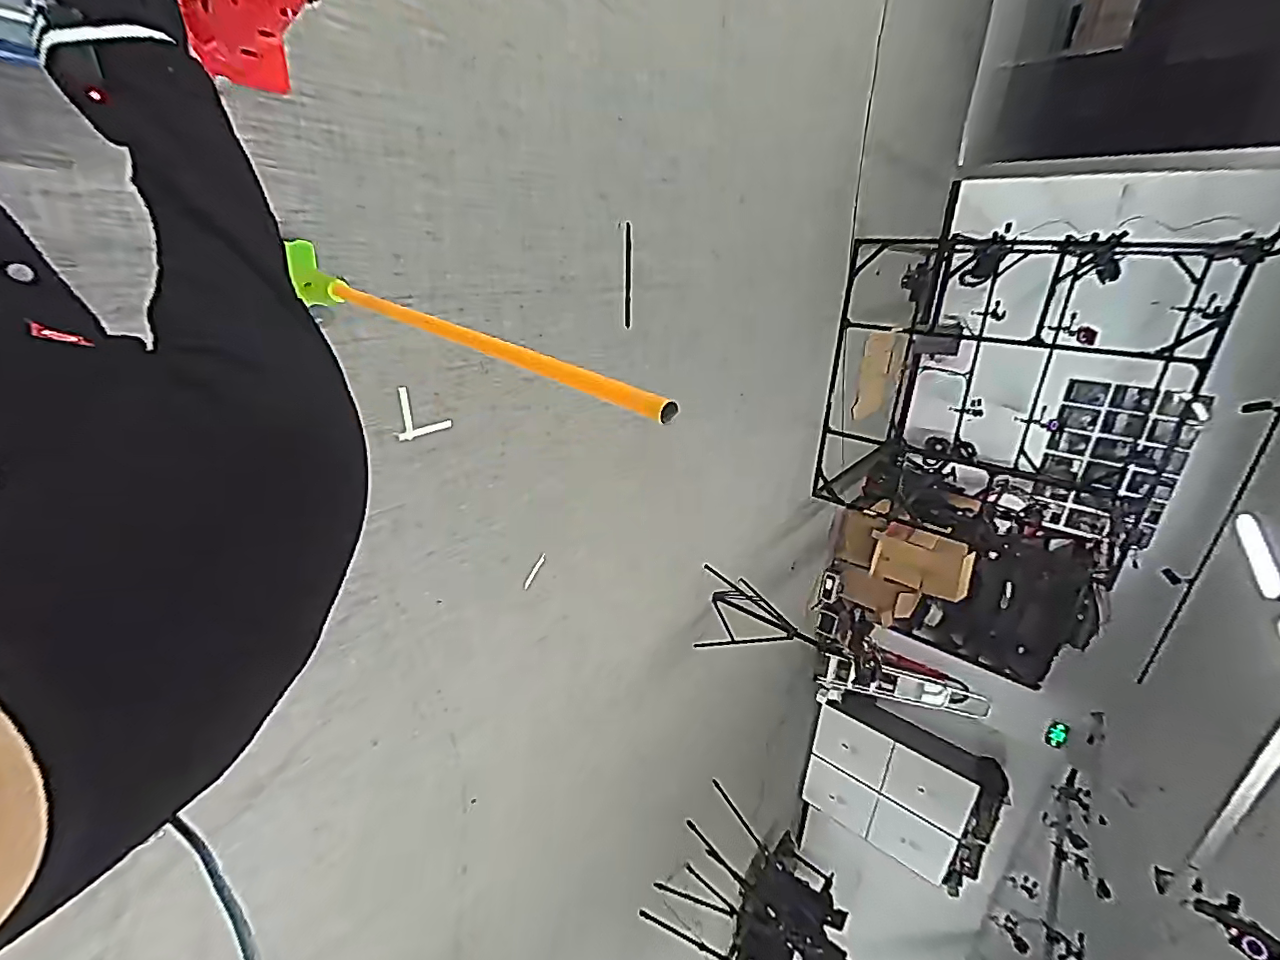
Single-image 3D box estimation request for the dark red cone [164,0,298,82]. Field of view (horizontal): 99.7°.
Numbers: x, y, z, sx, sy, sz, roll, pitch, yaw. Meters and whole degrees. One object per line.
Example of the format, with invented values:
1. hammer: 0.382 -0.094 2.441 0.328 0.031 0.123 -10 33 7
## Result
1. dark red cone: -0.670 -0.865 0.953 0.201 0.394 0.202 -26 126 -48
